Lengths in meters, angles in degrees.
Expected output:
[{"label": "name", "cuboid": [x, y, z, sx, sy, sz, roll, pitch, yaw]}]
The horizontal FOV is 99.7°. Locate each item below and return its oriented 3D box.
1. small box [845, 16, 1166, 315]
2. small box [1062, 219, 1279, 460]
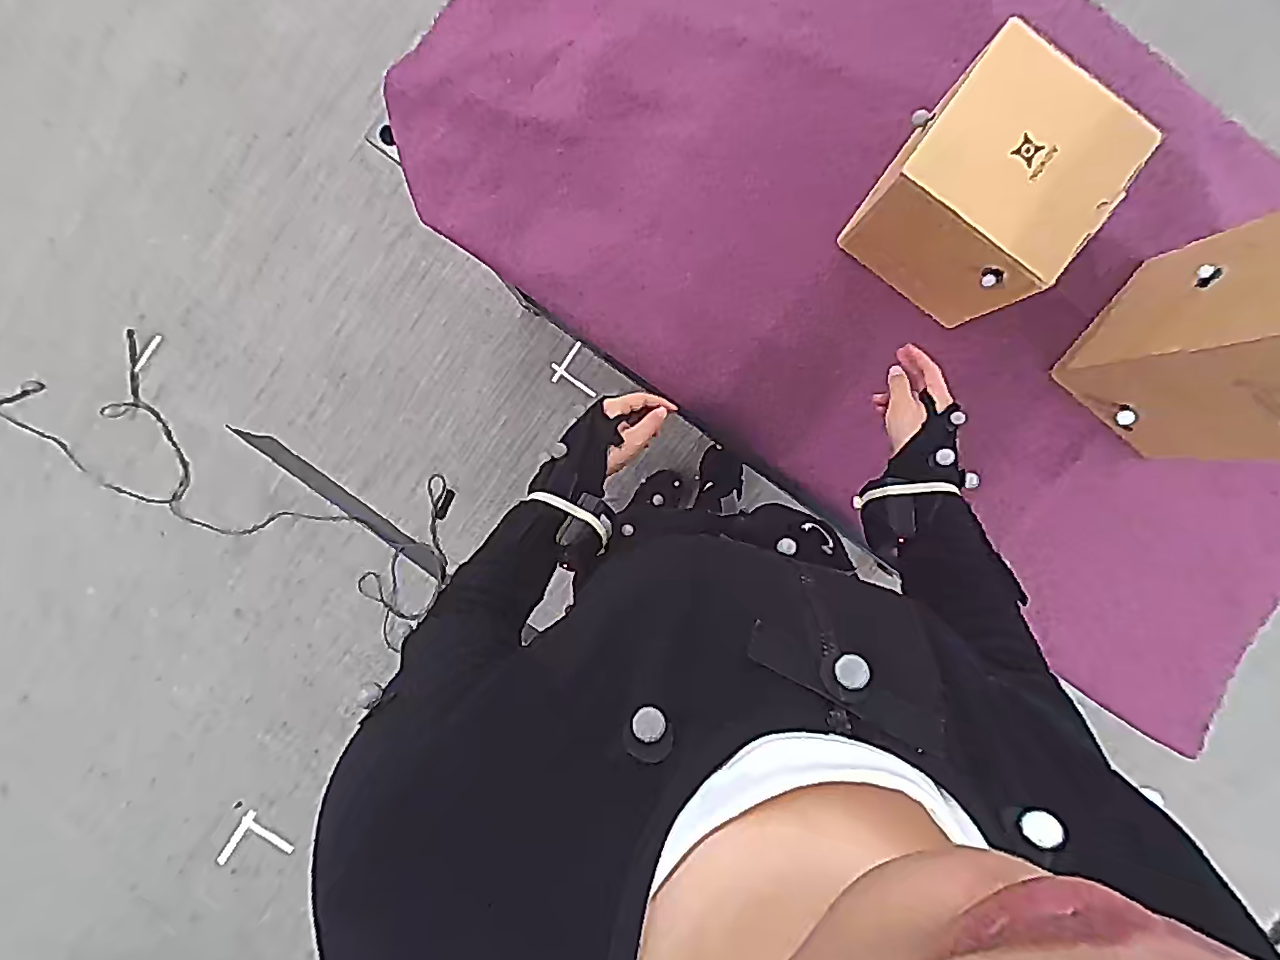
[{"label": "small box", "cuboid": [0.349, -0.296, 0.558, 0.179, 0.176, 0.168, 36, 92, -2]}, {"label": "small box", "cuboid": [0.608, -0.140, 0.565, 0.168, 0.176, 0.179, 40, 93, -2]}]
